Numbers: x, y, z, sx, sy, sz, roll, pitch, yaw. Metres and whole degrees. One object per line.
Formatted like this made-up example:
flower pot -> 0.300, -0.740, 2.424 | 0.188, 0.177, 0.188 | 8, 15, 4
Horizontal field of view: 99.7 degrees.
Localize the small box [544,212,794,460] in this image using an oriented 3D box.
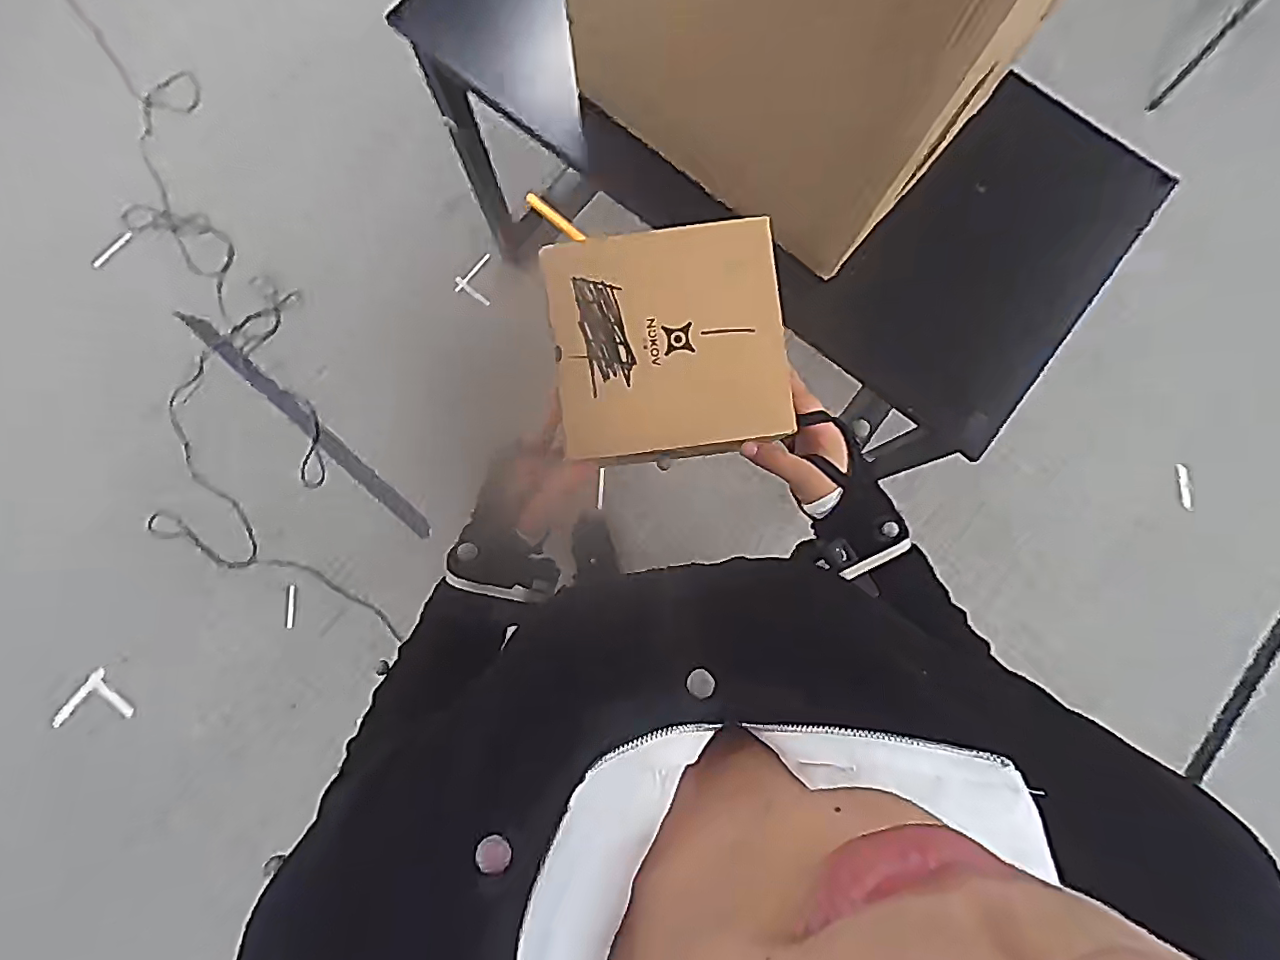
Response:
small box -> 0.023, -0.109, 0.482 | 0.179, 0.176, 0.168 | -6, 90, 1
